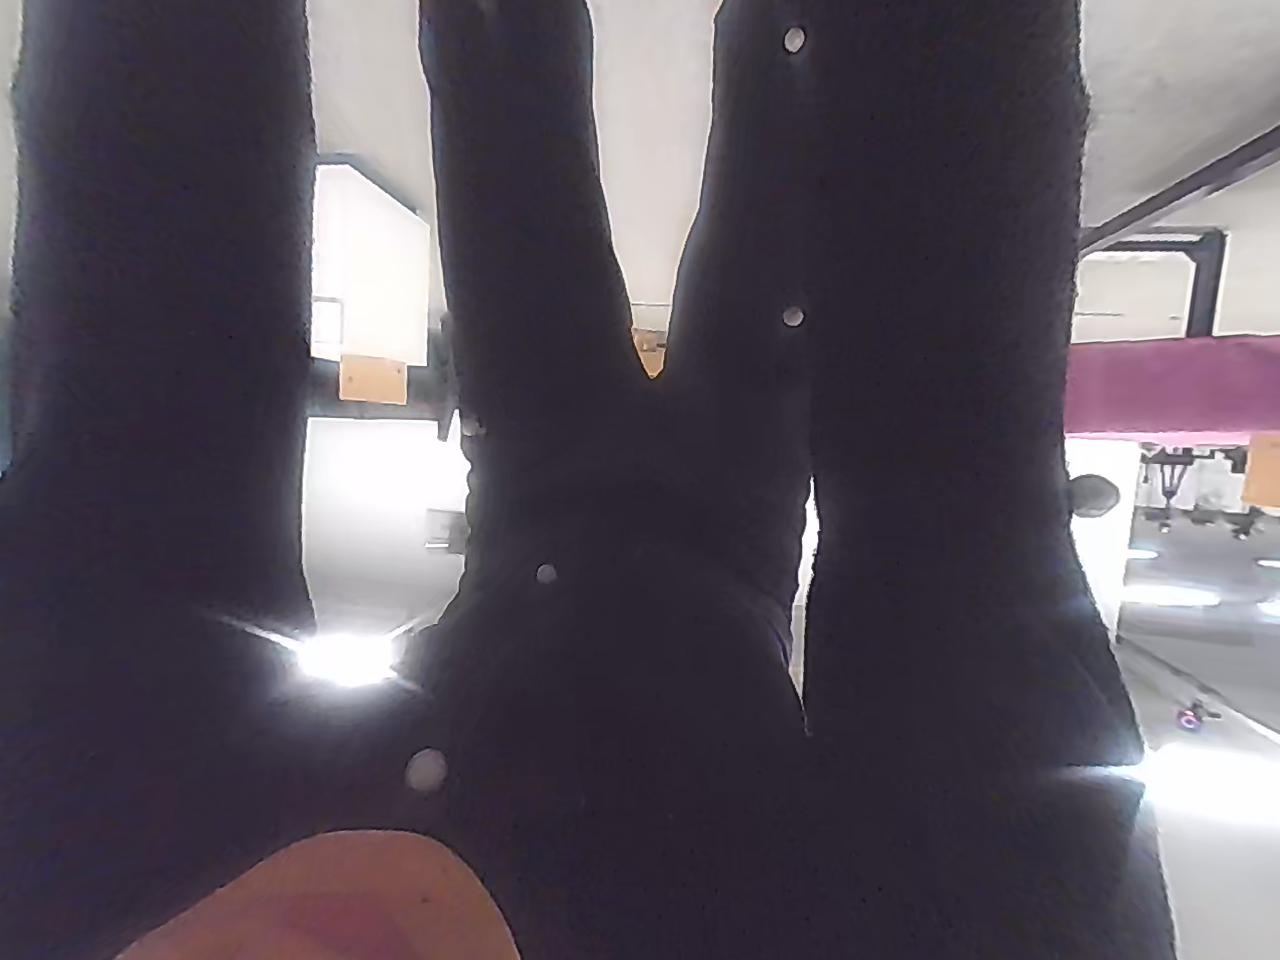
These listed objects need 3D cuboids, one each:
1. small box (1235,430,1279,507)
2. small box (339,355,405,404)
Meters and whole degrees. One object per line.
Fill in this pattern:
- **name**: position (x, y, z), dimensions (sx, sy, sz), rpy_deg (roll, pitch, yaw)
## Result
- **small box**: position (1.497, -0.020, 1.191), dimensions (0.179, 0.176, 0.168), rpy_deg (5, -174, 8)
- **small box**: position (-1.022, -0.386, 2.073), dimensions (0.179, 0.176, 0.168), rpy_deg (5, -174, 5)
